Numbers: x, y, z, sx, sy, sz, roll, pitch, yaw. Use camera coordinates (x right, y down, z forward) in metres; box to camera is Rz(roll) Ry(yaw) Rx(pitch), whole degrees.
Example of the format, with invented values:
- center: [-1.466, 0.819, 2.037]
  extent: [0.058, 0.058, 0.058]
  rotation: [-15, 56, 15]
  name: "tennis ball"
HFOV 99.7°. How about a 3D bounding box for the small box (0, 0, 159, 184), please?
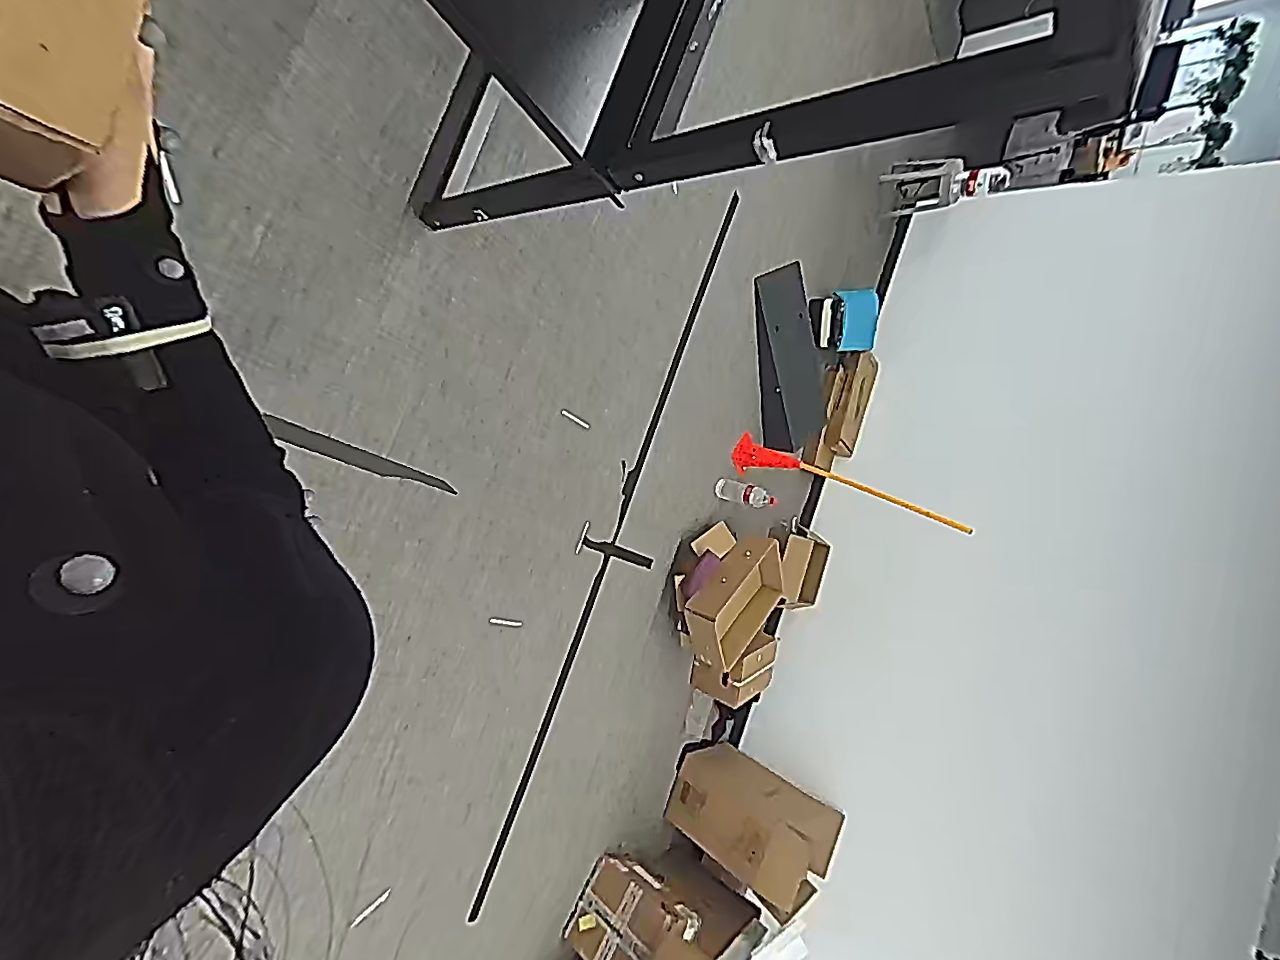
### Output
- center: [-0.310, -0.246, 0.211]
  extent: [0.168, 0.176, 0.179]
  rotation: [16, 89, -56]
  name: "small box"
